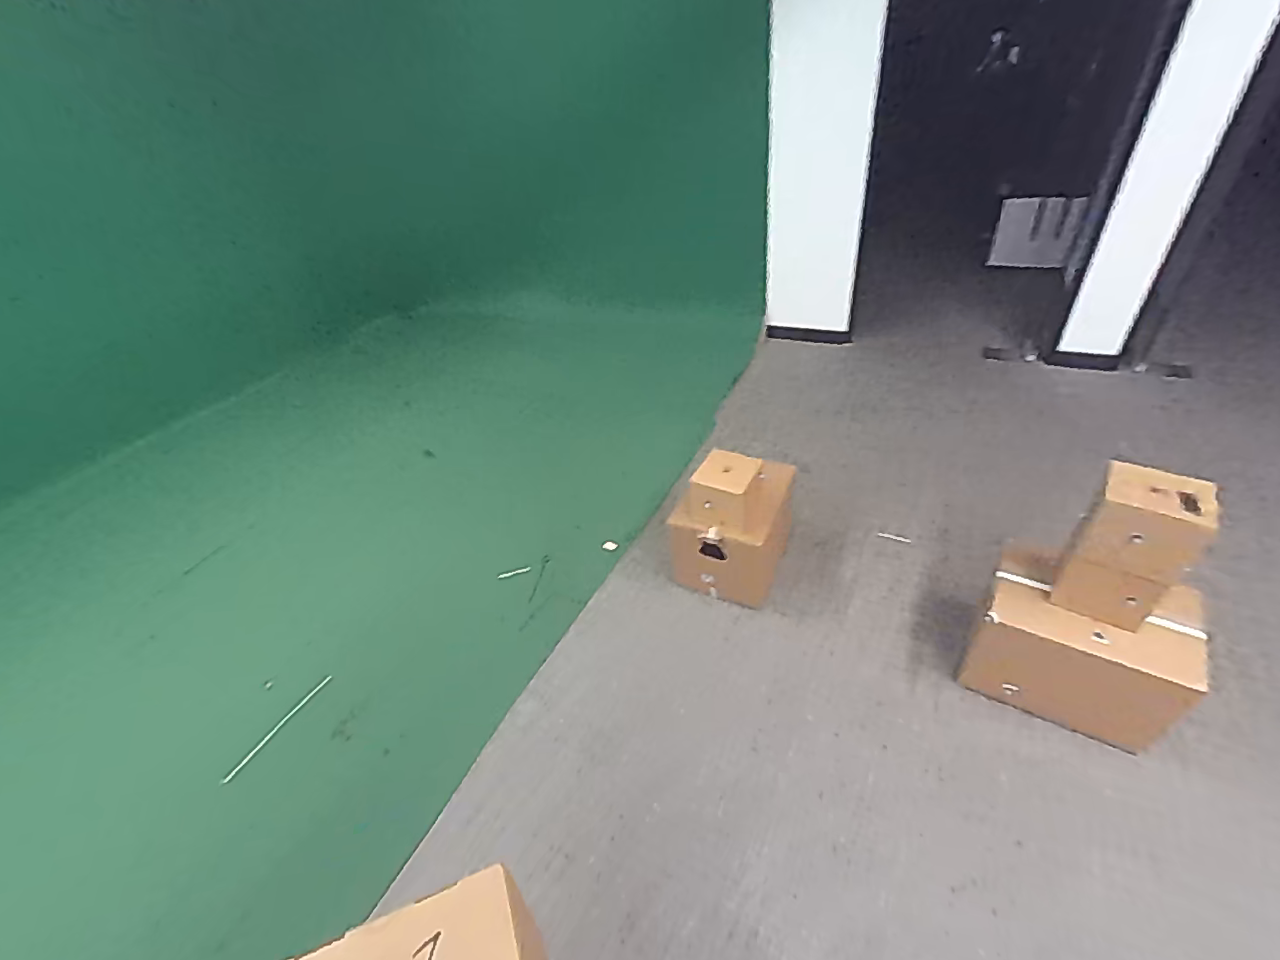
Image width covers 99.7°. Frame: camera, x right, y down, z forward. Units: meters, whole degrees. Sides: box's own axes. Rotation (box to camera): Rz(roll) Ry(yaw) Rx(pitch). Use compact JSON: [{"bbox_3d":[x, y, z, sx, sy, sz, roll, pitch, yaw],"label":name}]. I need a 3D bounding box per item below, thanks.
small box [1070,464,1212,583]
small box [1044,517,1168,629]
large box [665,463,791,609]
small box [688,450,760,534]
[{"bbox_3d":[1.078,0.096,1.170,0.179,0.176,0.168,21,45,33],"label":"small box"},{"bbox_3d":[1.095,0.222,1.275,0.179,0.176,0.168,21,45,32],"label":"small box"},{"bbox_3d":[0.318,0.171,1.873,0.320,0.320,0.408,13,43,25],"label":"large box"},{"bbox_3d":[0.261,0.038,1.656,0.168,0.176,0.179,16,44,27],"label":"small box"}]
